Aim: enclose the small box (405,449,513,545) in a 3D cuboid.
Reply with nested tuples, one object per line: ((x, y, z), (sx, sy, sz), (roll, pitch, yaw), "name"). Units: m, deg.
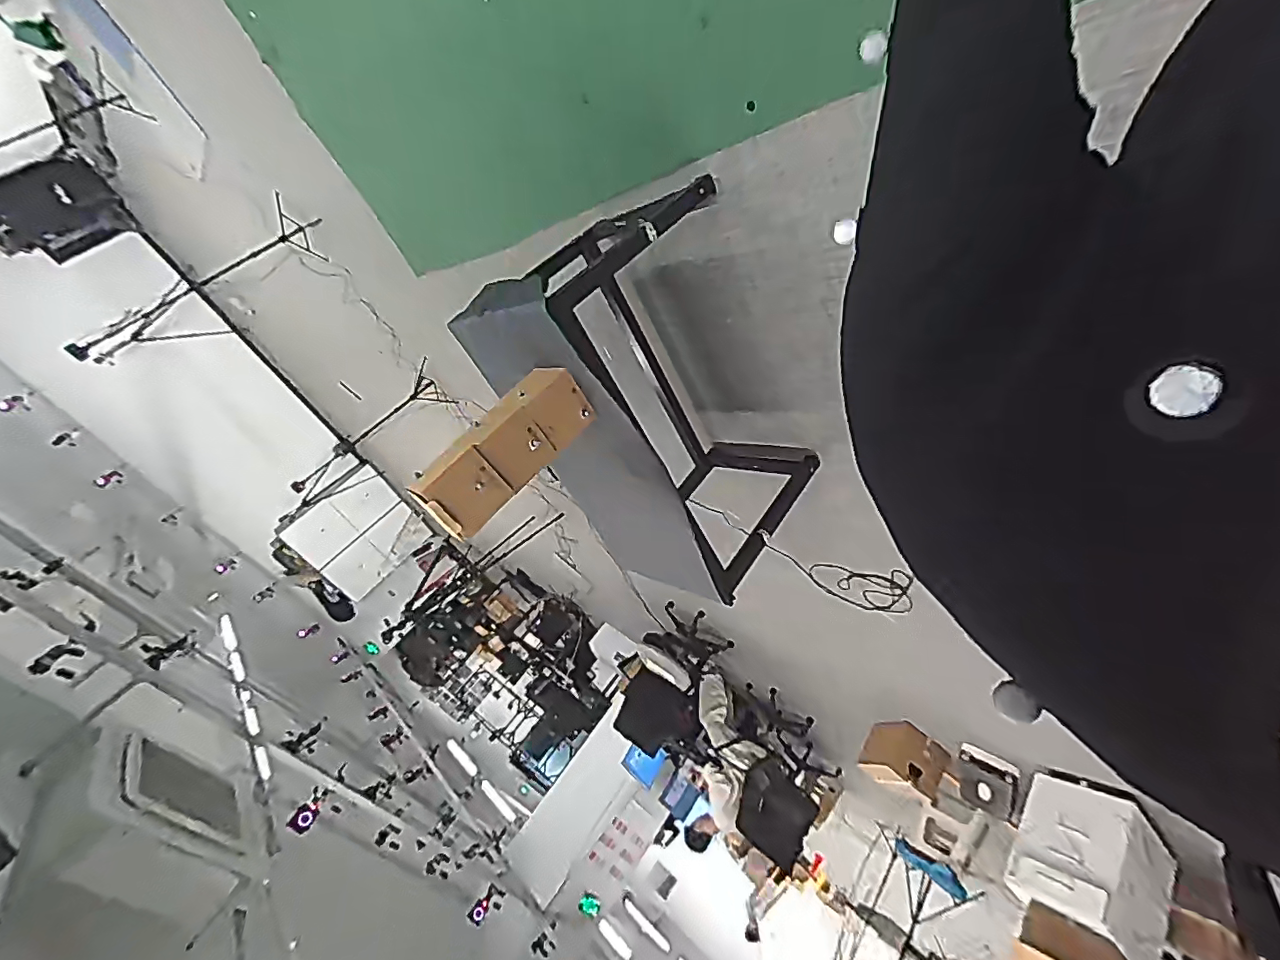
((-0.451, 0.036, 1.358), (0.179, 0.176, 0.168), (5, 139, 54), "small box")

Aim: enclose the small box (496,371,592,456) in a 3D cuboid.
((-0.257, -0.188, 1.500), (0.179, 0.176, 0.168), (14, 144, 50), "small box")

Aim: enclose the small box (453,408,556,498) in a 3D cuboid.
((-0.354, -0.076, 1.432), (0.179, 0.176, 0.168), (7, 140, 51), "small box")
